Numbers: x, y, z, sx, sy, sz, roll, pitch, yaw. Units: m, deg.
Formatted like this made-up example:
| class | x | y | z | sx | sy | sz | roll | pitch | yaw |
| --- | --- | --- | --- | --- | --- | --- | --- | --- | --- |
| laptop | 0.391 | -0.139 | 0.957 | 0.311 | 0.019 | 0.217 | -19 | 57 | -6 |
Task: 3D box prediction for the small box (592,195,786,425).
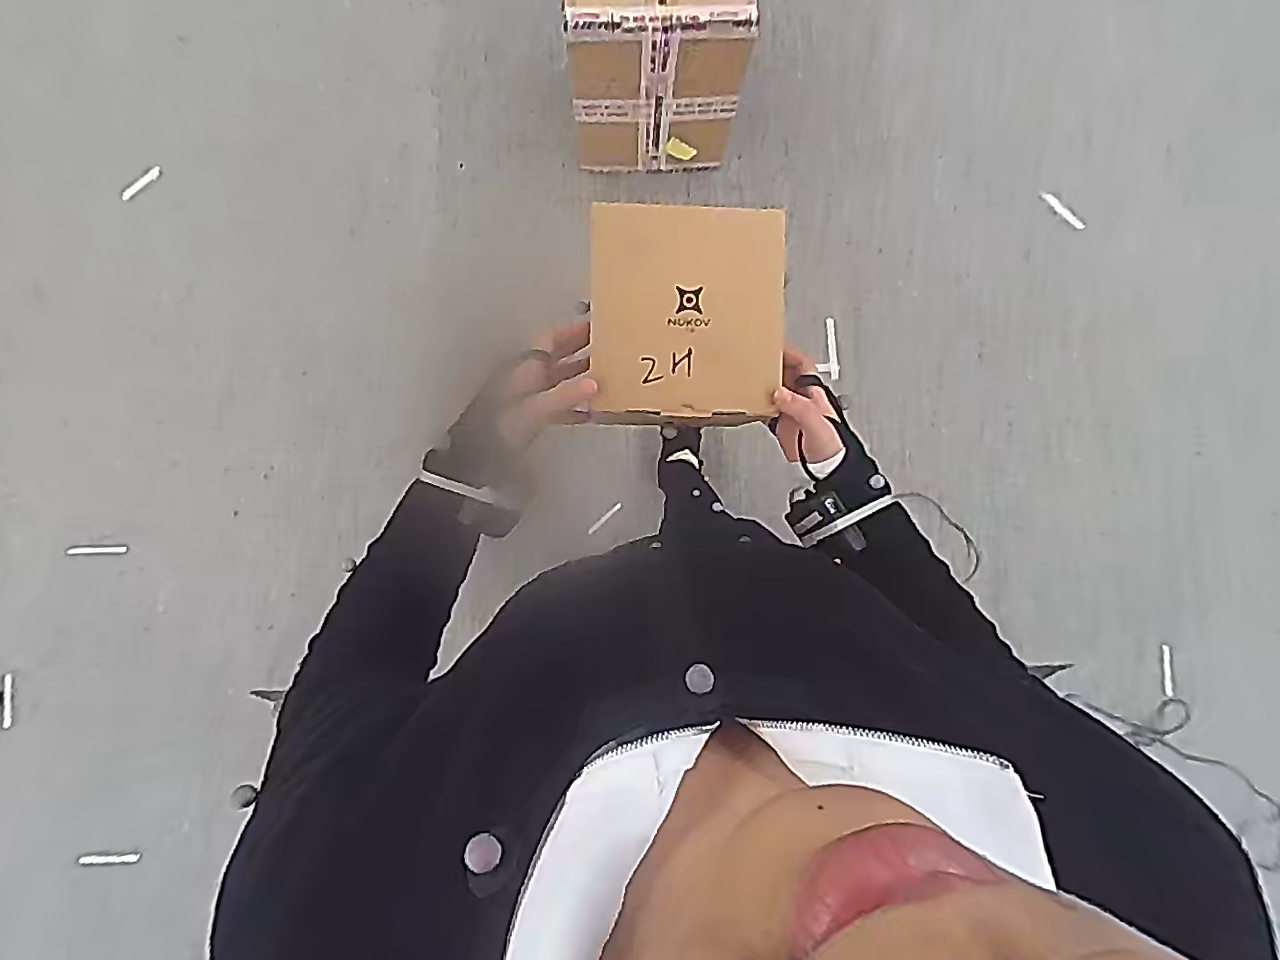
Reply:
| class | x | y | z | sx | sy | sz | roll | pitch | yaw |
| --- | --- | --- | --- | --- | --- | --- | --- | --- | --- |
| small box | 0.037 | -0.151 | 0.536 | 0.168 | 0.176 | 0.179 | 1 | 91 | -3 |
